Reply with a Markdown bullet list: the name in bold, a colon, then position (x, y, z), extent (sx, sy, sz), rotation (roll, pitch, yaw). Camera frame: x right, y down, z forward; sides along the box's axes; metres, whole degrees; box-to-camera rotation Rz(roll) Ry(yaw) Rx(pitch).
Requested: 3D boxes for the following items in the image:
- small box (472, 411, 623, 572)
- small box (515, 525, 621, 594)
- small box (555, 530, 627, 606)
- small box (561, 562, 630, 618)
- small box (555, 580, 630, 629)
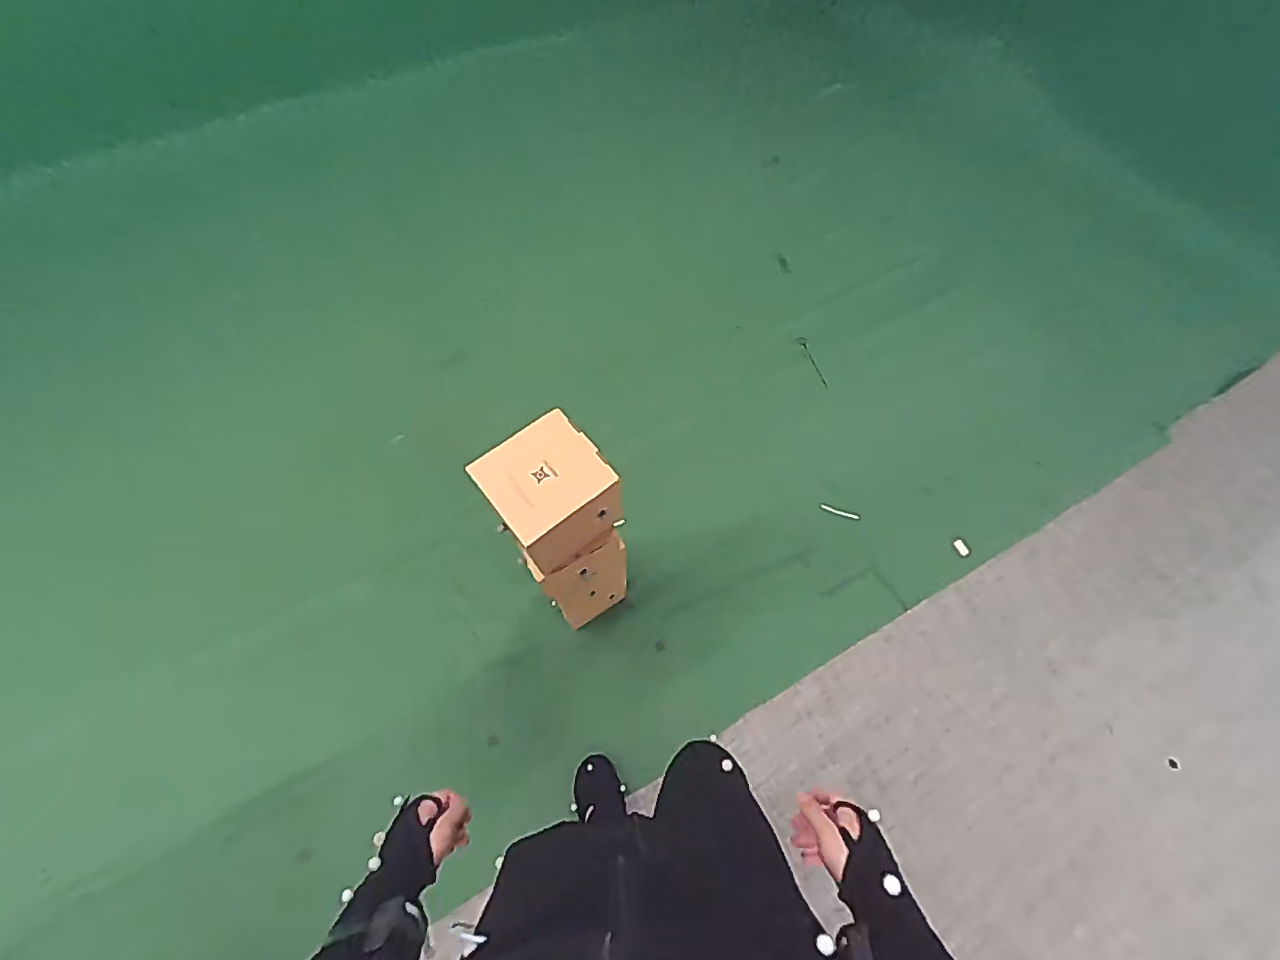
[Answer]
- **small box**: position (-0.144, 0.025, 0.893), extent (0.179, 0.176, 0.168), rotation (-36, 70, -15)
- **small box**: position (-0.145, 0.104, 1.037), extent (0.168, 0.176, 0.179), rotation (-27, 70, -13)
- **small box**: position (-0.141, 0.156, 1.192), extent (0.179, 0.176, 0.168), rotation (-31, 70, -15)
- **small box**: position (-0.140, 0.220, 1.343), extent (0.179, 0.176, 0.168), rotation (-29, 69, -13)
- **small box**: position (-0.144, 0.288, 1.490), extent (0.179, 0.176, 0.168), rotation (-30, 69, -14)
